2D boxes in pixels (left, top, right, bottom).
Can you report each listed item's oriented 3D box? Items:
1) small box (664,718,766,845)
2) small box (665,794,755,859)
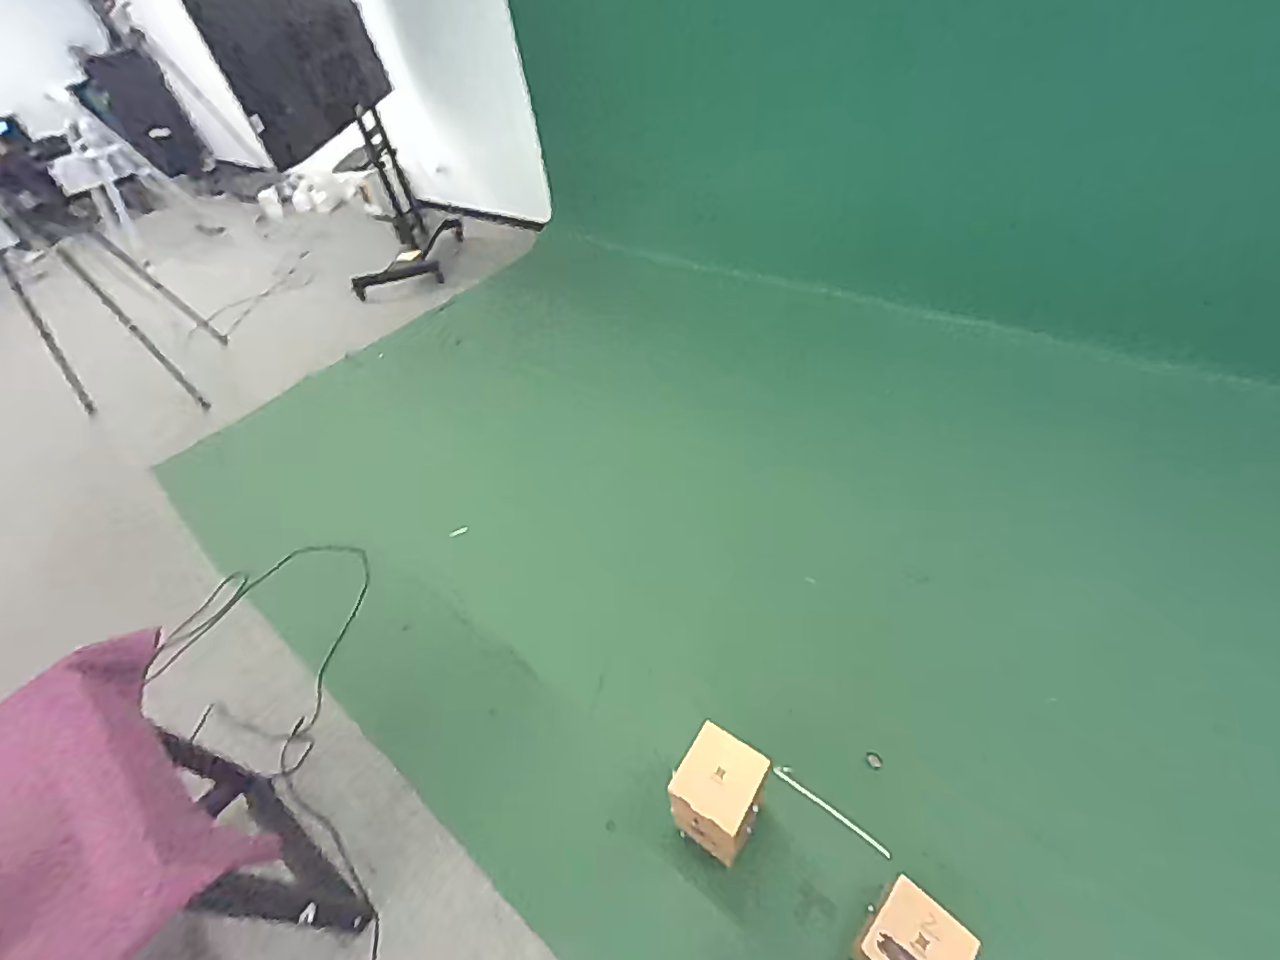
[{"bbox_3d":[0.172,0.696,1.247,0.168,0.176,0.179,24,55,28],"label":"small box"},{"bbox_3d":[0.184,0.811,1.361,0.168,0.176,0.179,25,54,29],"label":"small box"}]
